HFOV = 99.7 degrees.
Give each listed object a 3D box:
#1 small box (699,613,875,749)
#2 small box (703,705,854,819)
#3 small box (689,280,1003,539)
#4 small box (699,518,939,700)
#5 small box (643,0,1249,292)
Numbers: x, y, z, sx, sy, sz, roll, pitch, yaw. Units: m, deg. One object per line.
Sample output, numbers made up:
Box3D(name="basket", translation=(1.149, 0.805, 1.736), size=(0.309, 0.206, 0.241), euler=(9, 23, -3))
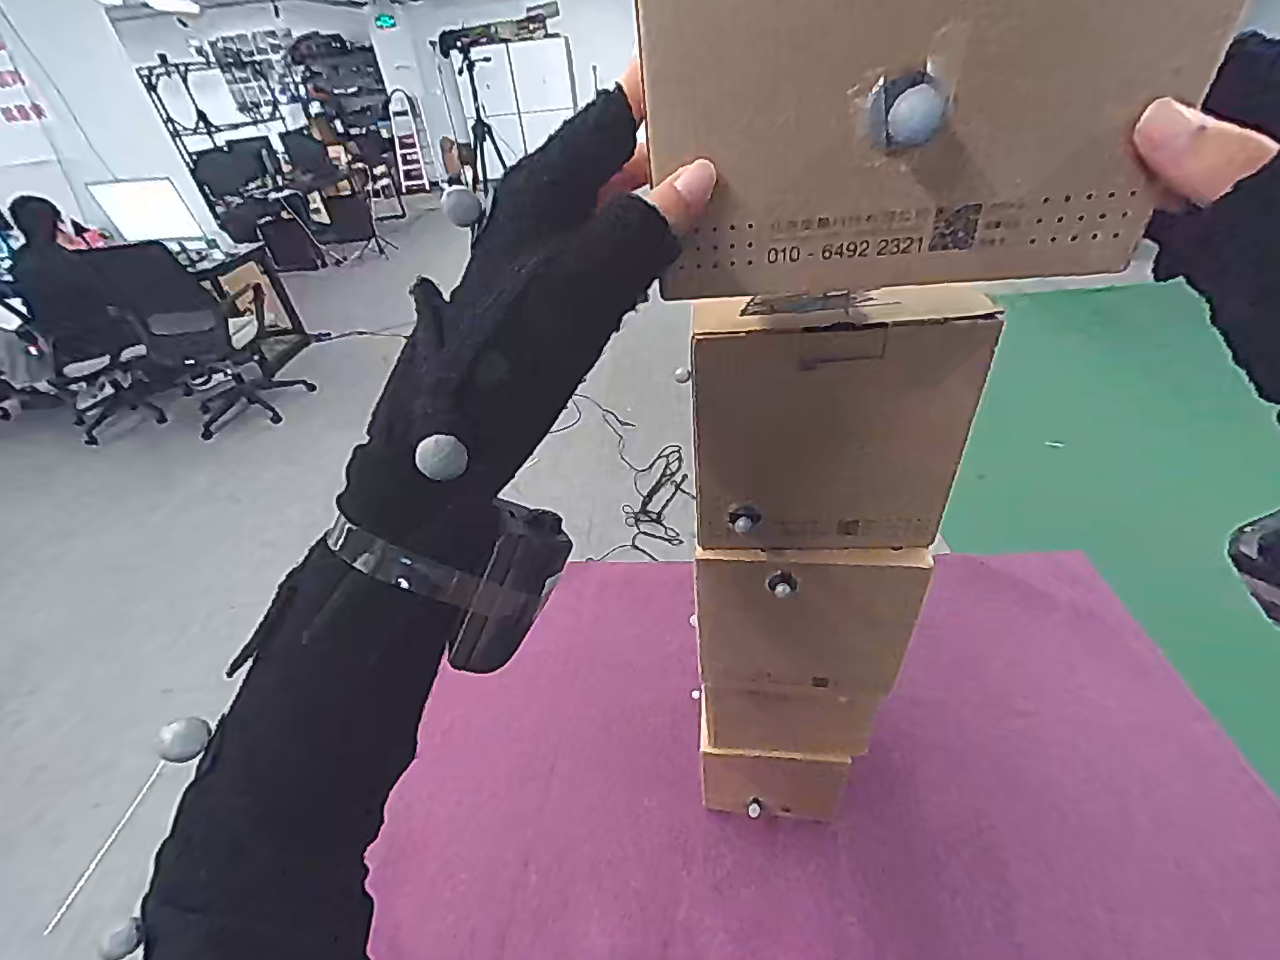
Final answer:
Box3D(name="small box", translation=(0.160, 0.183, 0.609), size=(0.179, 0.176, 0.168), euler=(-1, 39, 8))
Box3D(name="small box", translation=(0.170, 0.310, 0.708), size=(0.168, 0.176, 0.179), euler=(-1, 39, 10))
Box3D(name="small box", translation=(0.124, -0.069, 0.401), size=(0.168, 0.176, 0.179), euler=(-1, 37, 7))
Box3D(name="small box", translation=(0.142, 0.069, 0.491), size=(0.168, 0.176, 0.179), euler=(0, 38, 10))
Box3D(name="small box", translation=(0.090, -0.187, 0.212), size=(0.168, 0.176, 0.179), euler=(-1, 40, 9))
